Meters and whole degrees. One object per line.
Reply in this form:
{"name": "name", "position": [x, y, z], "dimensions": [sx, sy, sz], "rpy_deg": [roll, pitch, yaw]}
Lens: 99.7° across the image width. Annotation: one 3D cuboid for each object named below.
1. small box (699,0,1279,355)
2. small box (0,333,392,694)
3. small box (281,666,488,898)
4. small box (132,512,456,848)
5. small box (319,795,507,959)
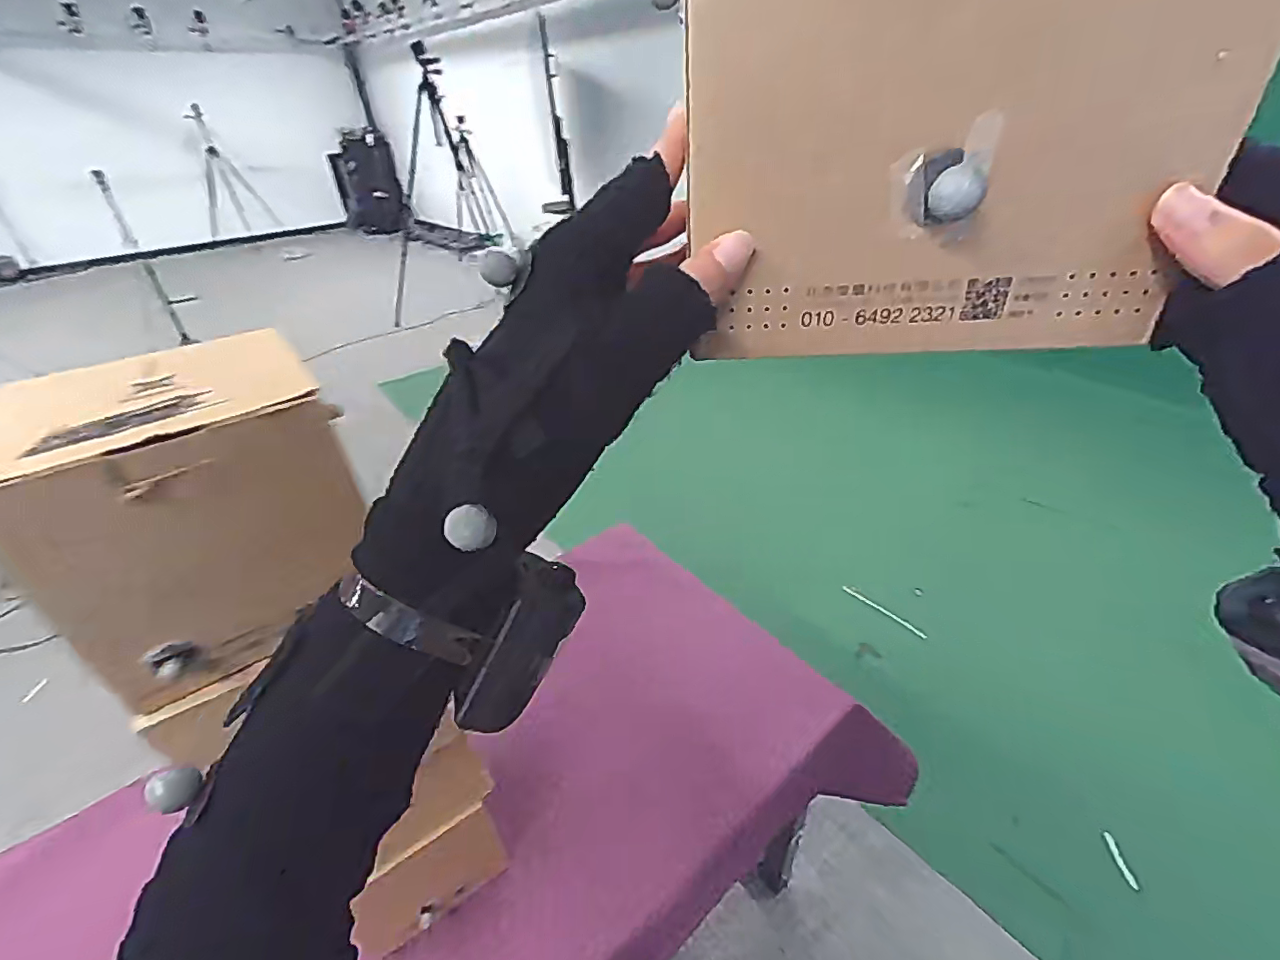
{"name": "small box", "position": [0.108, -0.160, 0.226], "dimensions": [0.168, 0.176, 0.179], "rpy_deg": [-1, 34, 6]}
{"name": "small box", "position": [-0.299, 0.017, 0.378], "dimensions": [0.168, 0.176, 0.179], "rpy_deg": [-26, 39, -29]}
{"name": "small box", "position": [-0.286, 0.283, 0.571], "dimensions": [0.179, 0.176, 0.168], "rpy_deg": [-25, 40, -28]}
{"name": "small box", "position": [-0.279, 0.158, 0.463], "dimensions": [0.168, 0.176, 0.179], "rpy_deg": [-24, 38, -26]}
{"name": "small box", "position": [-0.282, 0.419, 0.658], "dimensions": [0.168, 0.176, 0.179], "rpy_deg": [-25, 40, -27]}
